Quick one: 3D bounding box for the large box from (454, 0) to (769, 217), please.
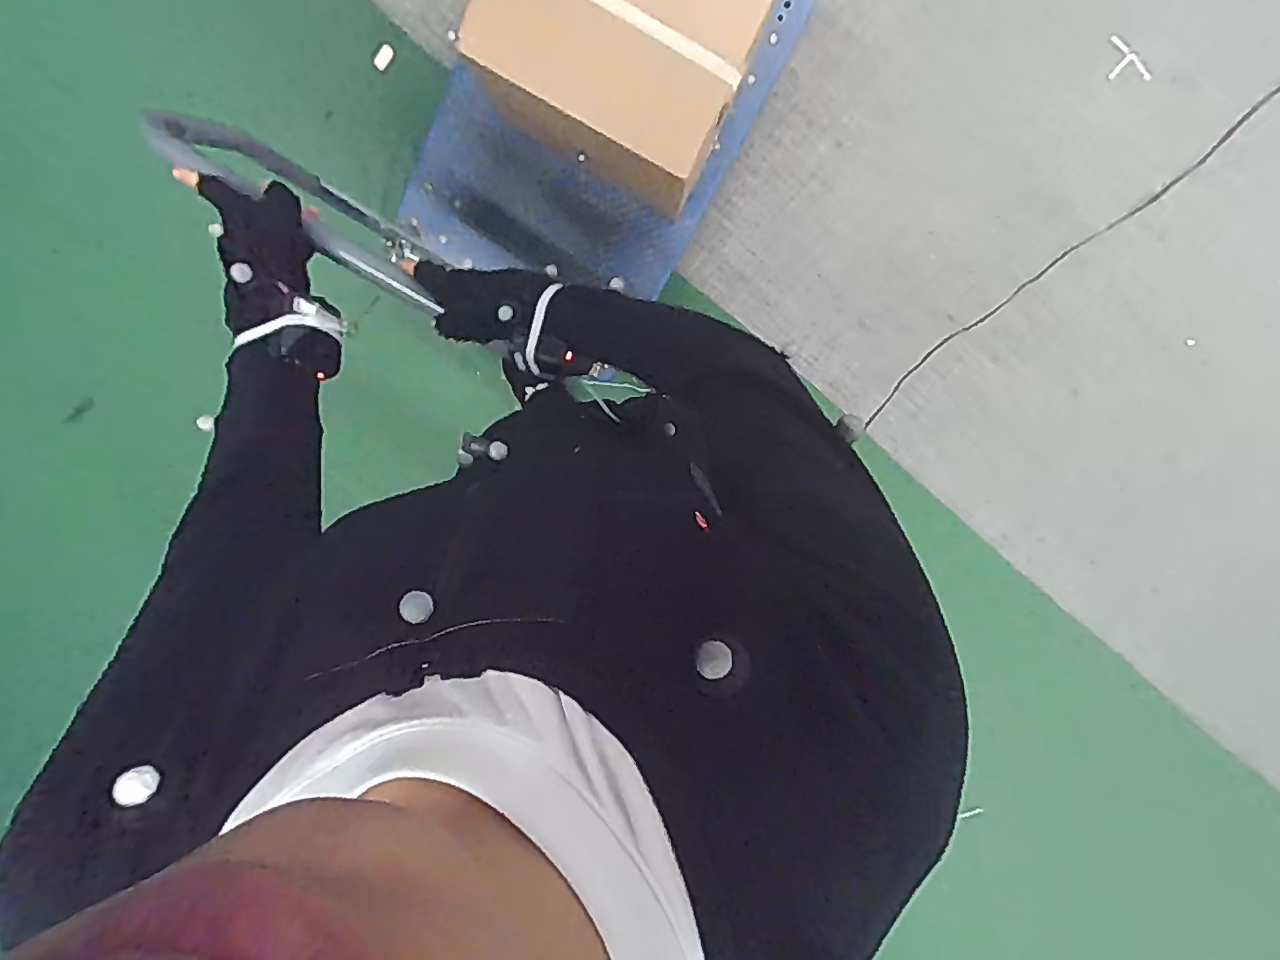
[{"bbox_3d":[-0.037,-0.732,0.955,0.408,0.320,0.320,28,103,-5],"label":"large box"}]
